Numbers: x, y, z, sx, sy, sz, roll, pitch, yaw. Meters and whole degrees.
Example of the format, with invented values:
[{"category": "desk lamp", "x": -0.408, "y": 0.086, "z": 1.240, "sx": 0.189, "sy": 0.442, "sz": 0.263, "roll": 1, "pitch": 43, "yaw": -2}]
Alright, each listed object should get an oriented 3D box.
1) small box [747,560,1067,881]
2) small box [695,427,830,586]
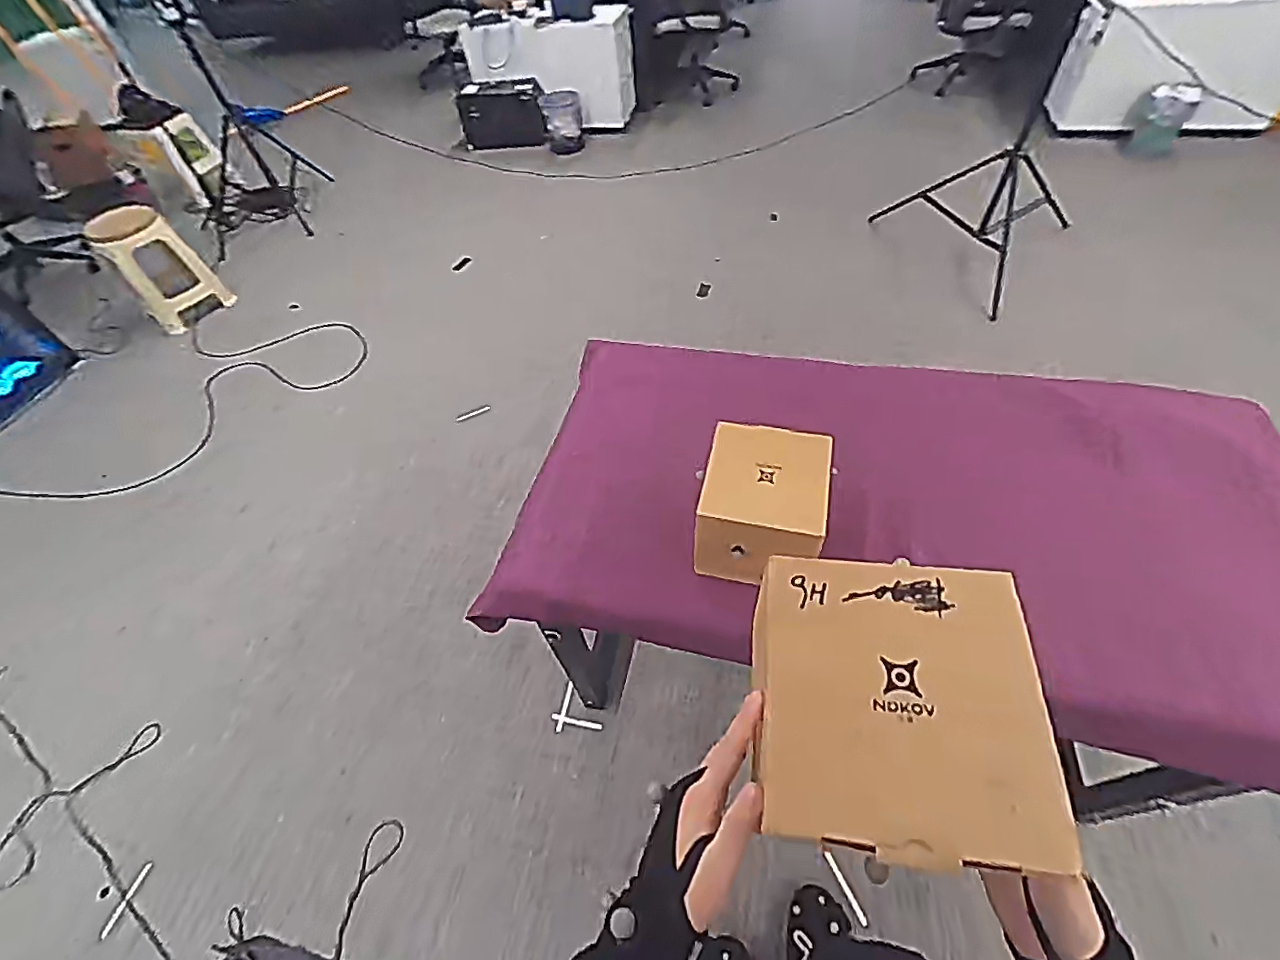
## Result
[{"category": "small box", "x": 0.172, "y": 0.179, "z": 0.414, "sx": 0.168, "sy": 0.176, "sz": 0.179, "roll": 3, "pitch": 59, "yaw": 9}, {"category": "small box", "x": 0.181, "y": 0.049, "z": 0.809, "sx": 0.168, "sy": 0.176, "sz": 0.179, "roll": 9, "pitch": 53, "yaw": 12}]
